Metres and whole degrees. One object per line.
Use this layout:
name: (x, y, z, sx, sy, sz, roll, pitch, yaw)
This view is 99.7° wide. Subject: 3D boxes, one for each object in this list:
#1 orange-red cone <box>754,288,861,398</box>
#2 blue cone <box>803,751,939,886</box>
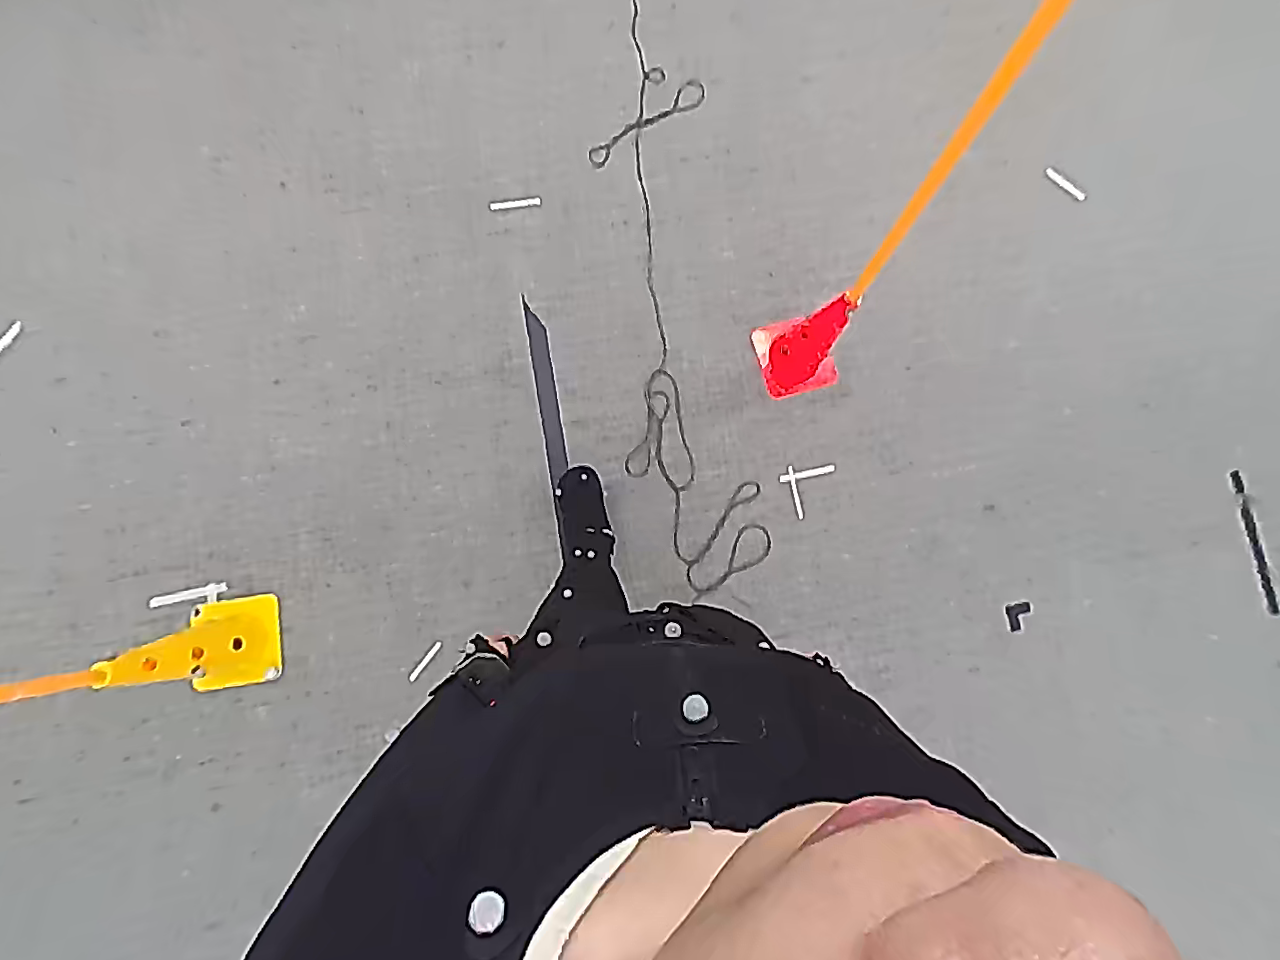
orange-red cone: (0.429, -0.352, 1.286, 0.199, 0.360, 0.198, -15, 83, -5)
blue cone: (0.512, 0.748, 1.151, 0.193, 0.380, 0.192, -7, 82, -5)
